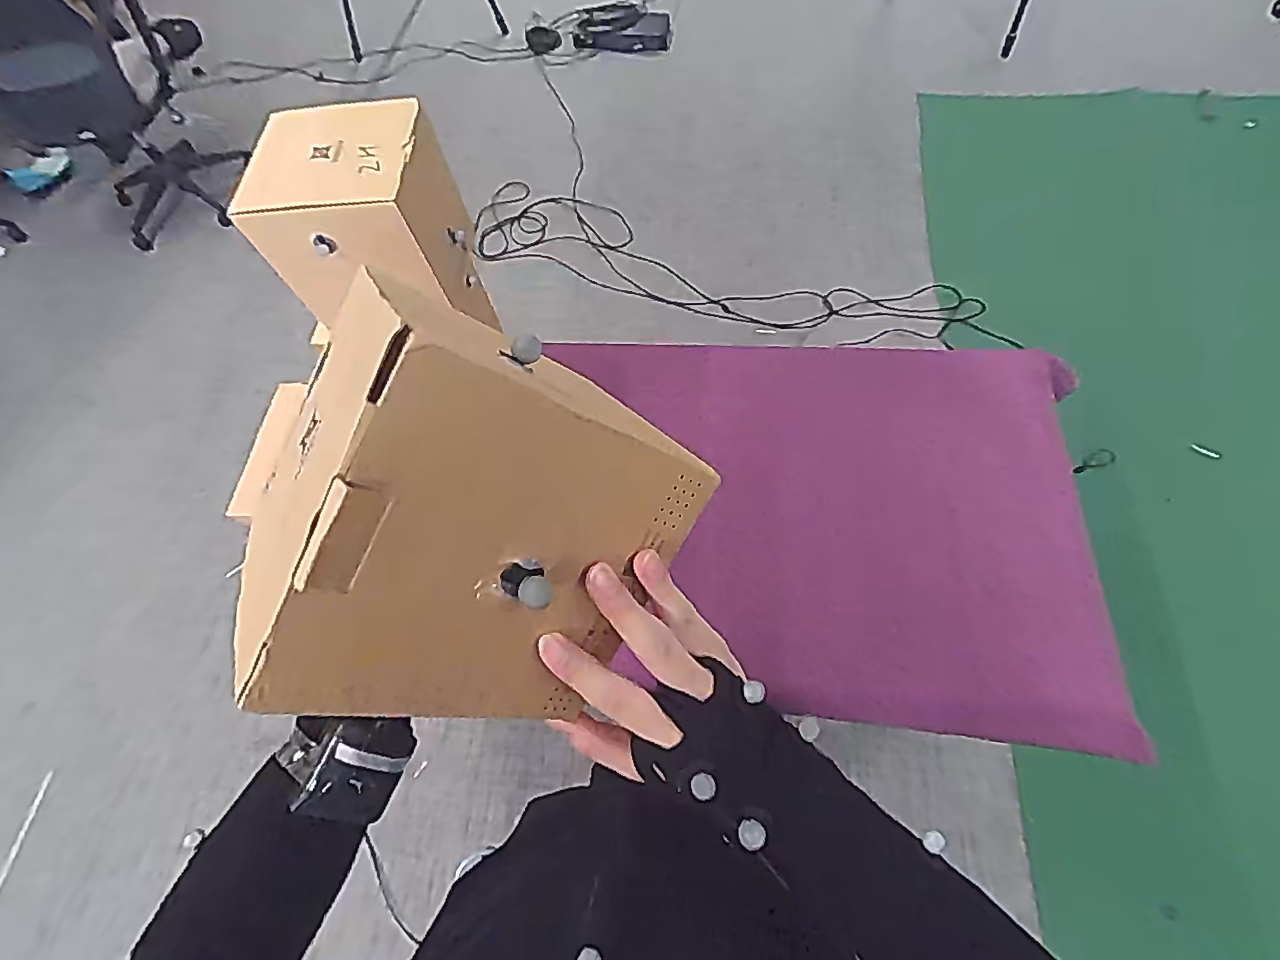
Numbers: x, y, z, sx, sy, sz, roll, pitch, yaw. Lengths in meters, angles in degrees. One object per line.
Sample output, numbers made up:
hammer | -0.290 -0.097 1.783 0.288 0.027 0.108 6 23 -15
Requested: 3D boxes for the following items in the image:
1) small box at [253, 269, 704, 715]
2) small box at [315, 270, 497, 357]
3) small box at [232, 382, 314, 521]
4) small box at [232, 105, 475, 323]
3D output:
small box | -0.096 0.007 0.313 0.168 0.176 0.179 -60 40 10
small box | -0.318 -0.209 0.778 0.168 0.176 0.179 0 65 5
small box | -0.350 -0.005 0.683 0.168 0.176 0.179 1 65 5
small box | -0.317 -0.302 0.639 0.179 0.176 0.168 -3 65 3
